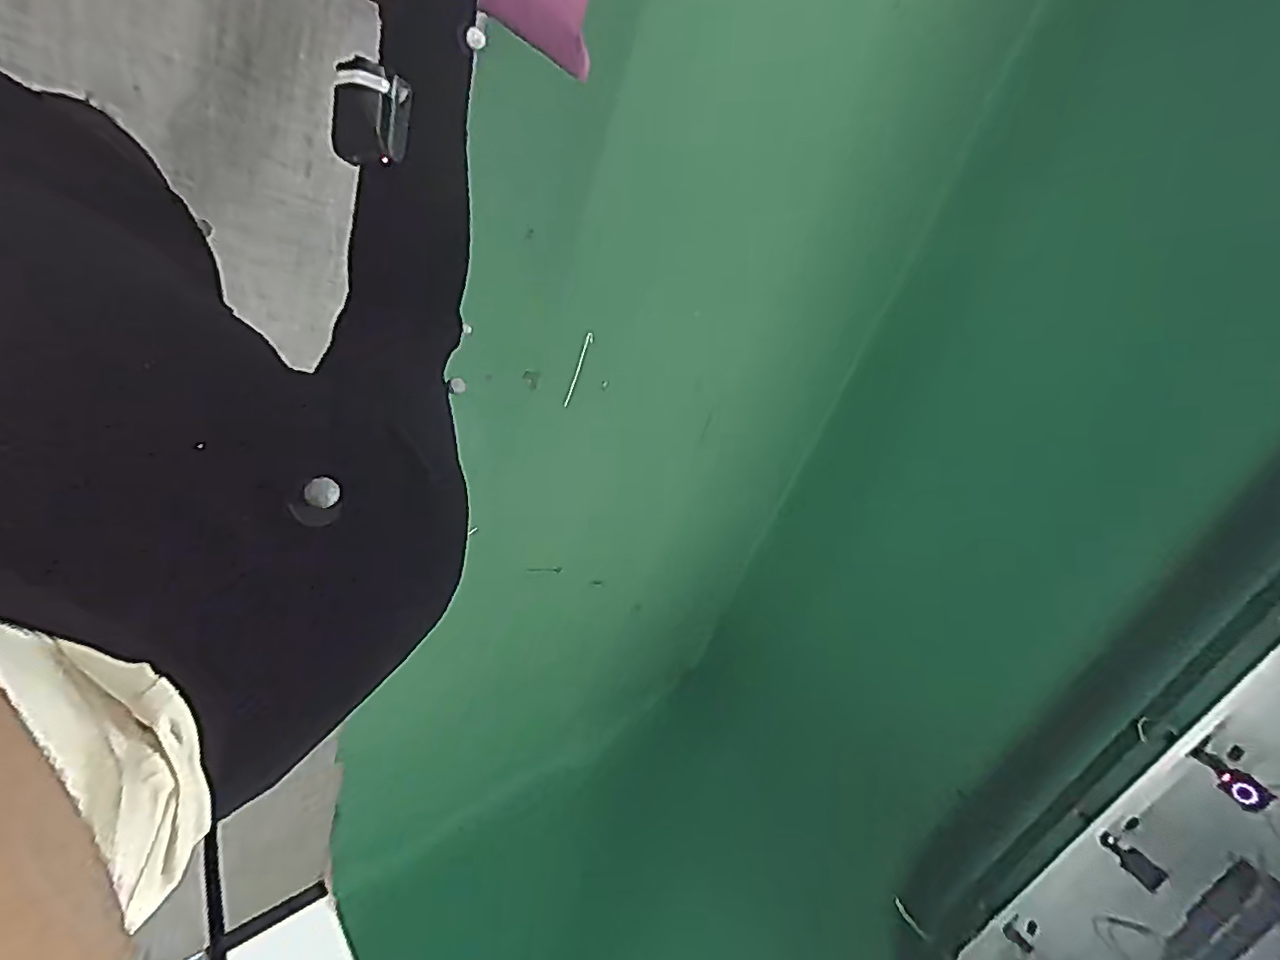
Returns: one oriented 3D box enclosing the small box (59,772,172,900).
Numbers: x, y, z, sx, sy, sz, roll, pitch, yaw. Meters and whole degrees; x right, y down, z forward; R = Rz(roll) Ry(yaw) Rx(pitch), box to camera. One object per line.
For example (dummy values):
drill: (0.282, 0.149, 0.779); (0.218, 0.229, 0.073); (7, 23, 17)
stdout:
small box: (-1.303, 0.869, 1.342); (0.179, 0.176, 0.168); (1, 120, -51)
